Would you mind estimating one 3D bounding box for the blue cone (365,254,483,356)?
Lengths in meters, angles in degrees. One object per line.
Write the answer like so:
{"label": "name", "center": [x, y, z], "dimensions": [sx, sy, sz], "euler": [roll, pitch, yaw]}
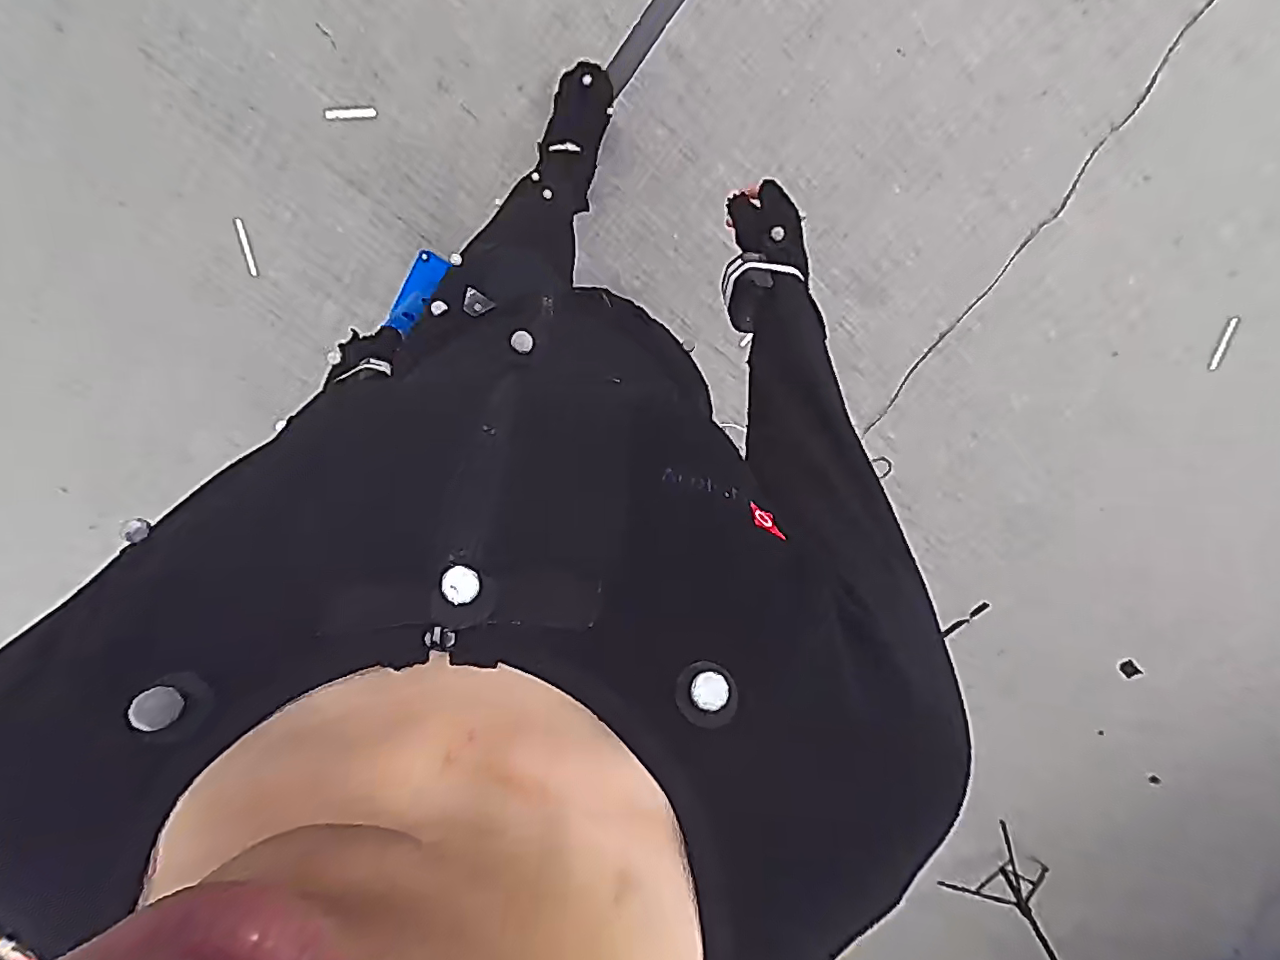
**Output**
{"label": "blue cone", "center": [-0.488, -0.351, 1.169], "dimensions": [0.192, 0.380, 0.193], "euler": [33, 110, -16]}
